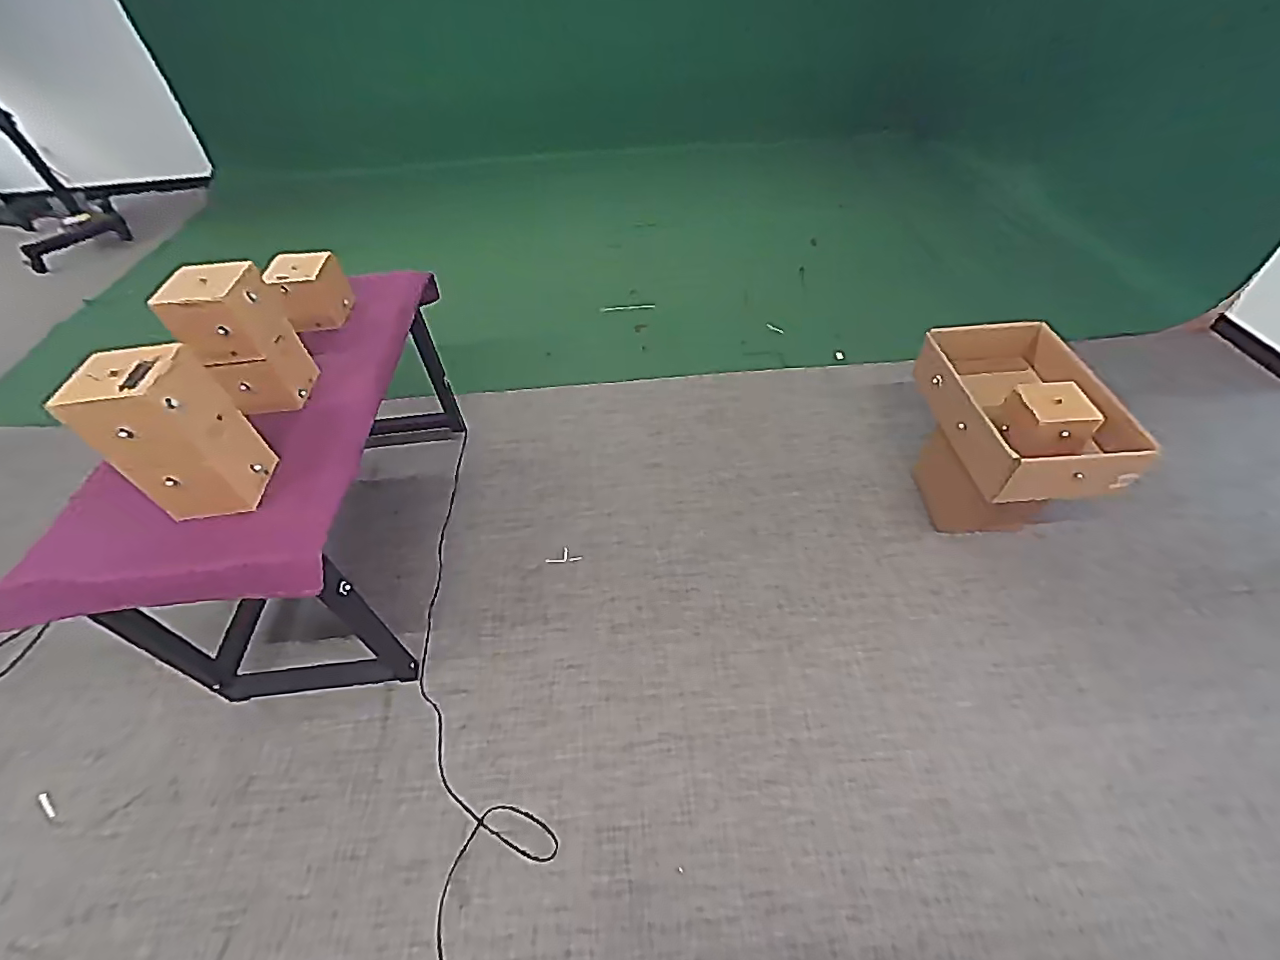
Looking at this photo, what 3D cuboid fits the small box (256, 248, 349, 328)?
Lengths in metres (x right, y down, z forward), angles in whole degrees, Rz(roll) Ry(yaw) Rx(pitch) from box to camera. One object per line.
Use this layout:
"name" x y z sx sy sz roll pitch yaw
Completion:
"small box" -1.027 -0.591 1.664 0.168 0.176 0.179 -5 49 -1

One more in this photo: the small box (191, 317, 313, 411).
"small box" -0.994 -0.299 1.406 0.179 0.176 0.168 -6 49 -2

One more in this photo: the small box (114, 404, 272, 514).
"small box" -0.956 -0.042 1.177 0.179 0.176 0.168 -7 49 -3

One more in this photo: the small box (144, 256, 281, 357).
"small box" -0.997 -0.406 1.284 0.168 0.176 0.179 -5 48 -3

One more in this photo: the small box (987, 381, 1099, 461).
"small box" 1.176 -0.171 1.594 0.179 0.176 0.168 -3 50 1
